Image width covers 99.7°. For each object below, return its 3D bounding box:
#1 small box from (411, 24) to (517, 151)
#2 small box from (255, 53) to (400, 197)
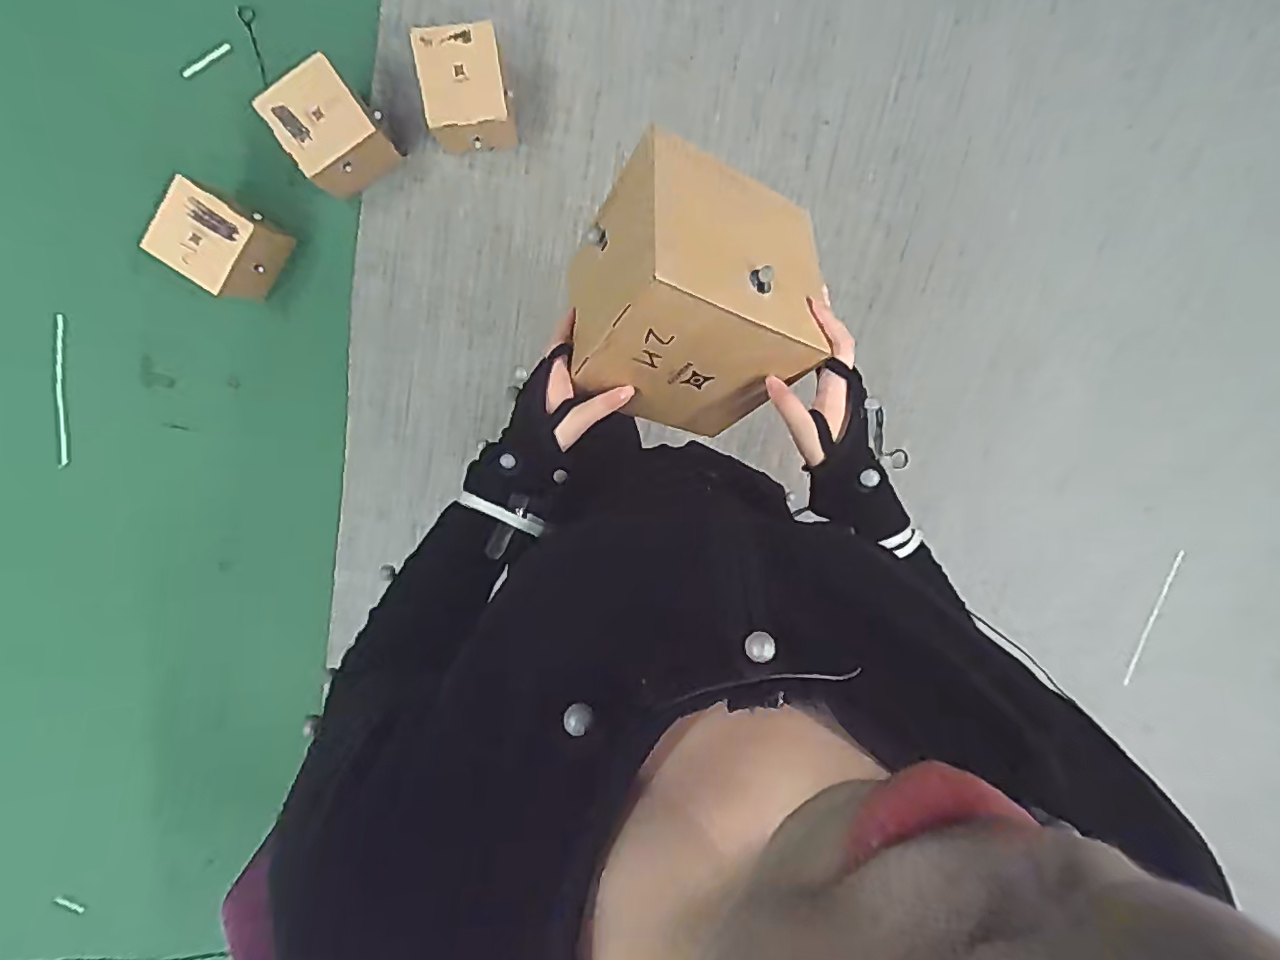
[{"bbox_3d":[-0.368,-0.830,1.165,0.168,0.176,0.179,-8,105,-3],"label":"small box"},{"bbox_3d":[-0.655,-0.745,1.160,0.179,0.176,0.168,-34,104,3],"label":"small box"}]
